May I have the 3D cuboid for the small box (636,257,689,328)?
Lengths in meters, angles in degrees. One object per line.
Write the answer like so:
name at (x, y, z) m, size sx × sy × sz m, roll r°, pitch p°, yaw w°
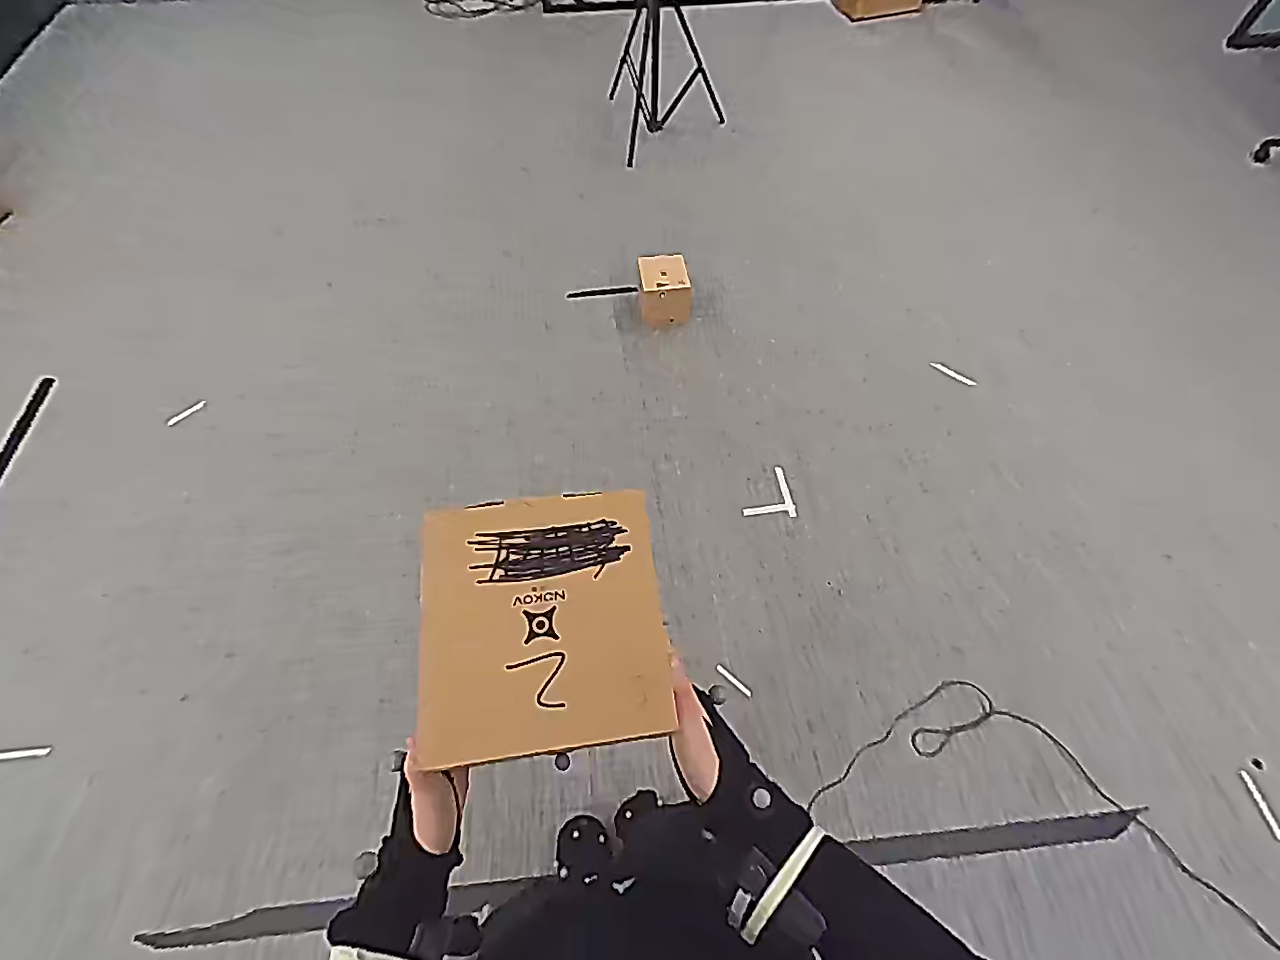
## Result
small box at (0.077, -0.680, 1.966) m, size 0.168 × 0.176 × 0.179 m, roll -7°, pitch 59°, yaw -4°
